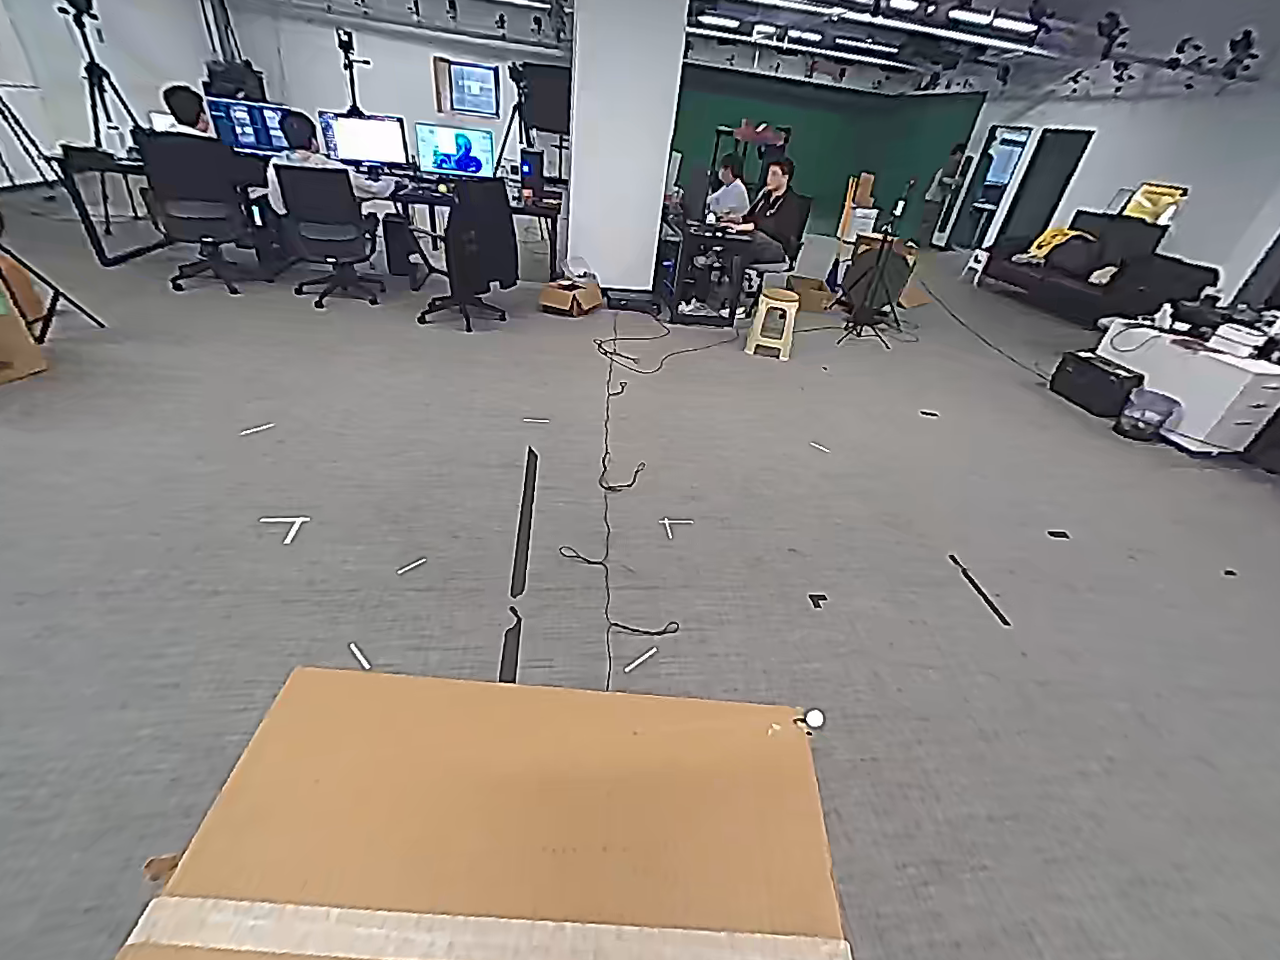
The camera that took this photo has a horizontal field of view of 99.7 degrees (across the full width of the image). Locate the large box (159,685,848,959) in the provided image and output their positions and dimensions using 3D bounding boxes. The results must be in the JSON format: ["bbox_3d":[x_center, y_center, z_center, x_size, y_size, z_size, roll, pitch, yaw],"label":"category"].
[{"bbox_3d":[-0.085,0.389,0.415,0.408,0.320,0.320,6,42,-2],"label":"large box"}]
